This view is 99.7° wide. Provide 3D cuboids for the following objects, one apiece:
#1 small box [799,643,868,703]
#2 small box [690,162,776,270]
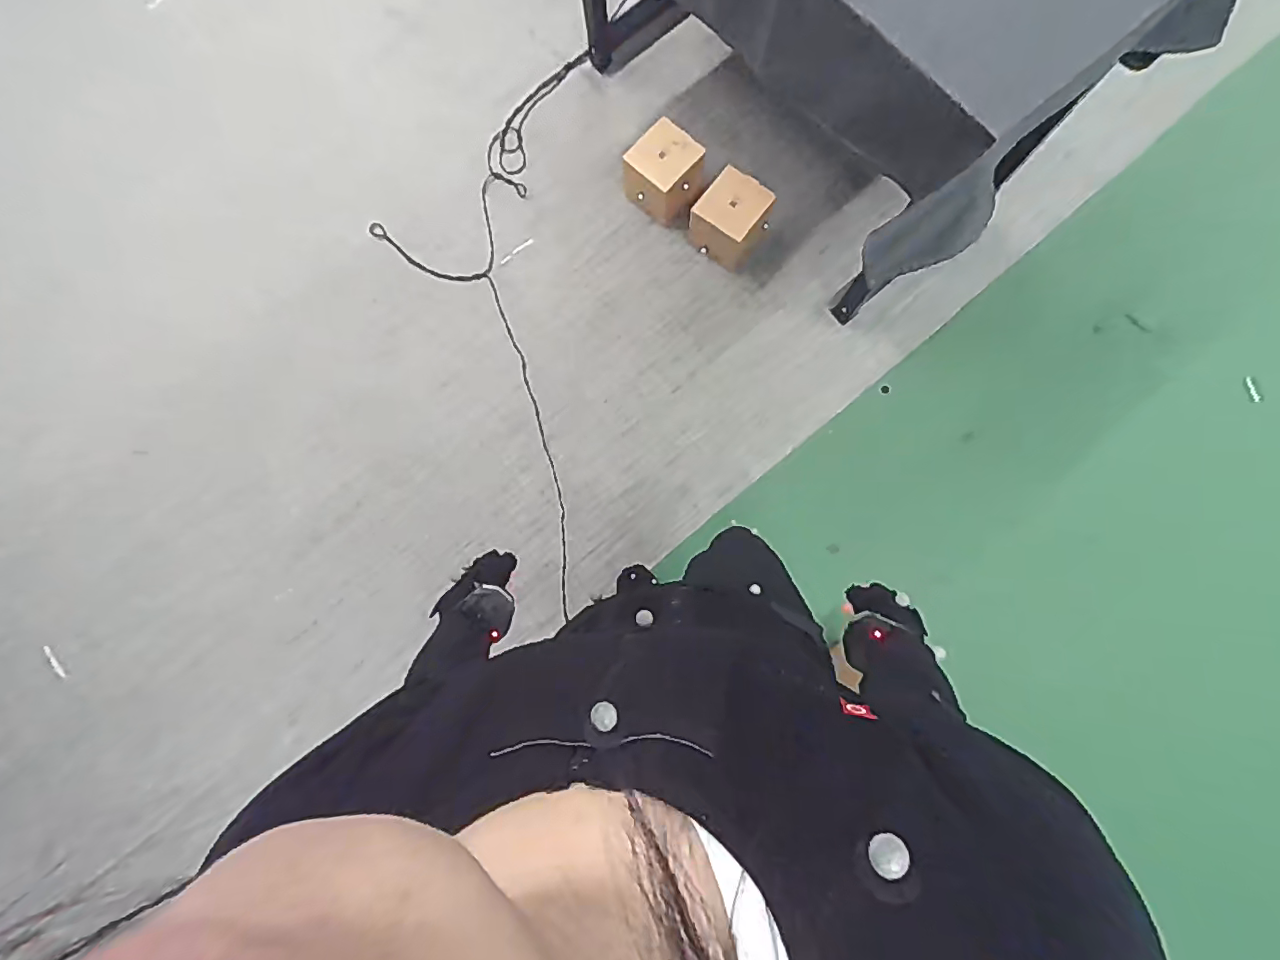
[{"bbox_3d":[0.529,0.529,1.357,0.168,0.176,0.179,-41,82,-4],"label":"small box"},{"bbox_3d":[0.253,-0.742,1.534,0.168,0.176,0.179,38,84,6],"label":"small box"}]
